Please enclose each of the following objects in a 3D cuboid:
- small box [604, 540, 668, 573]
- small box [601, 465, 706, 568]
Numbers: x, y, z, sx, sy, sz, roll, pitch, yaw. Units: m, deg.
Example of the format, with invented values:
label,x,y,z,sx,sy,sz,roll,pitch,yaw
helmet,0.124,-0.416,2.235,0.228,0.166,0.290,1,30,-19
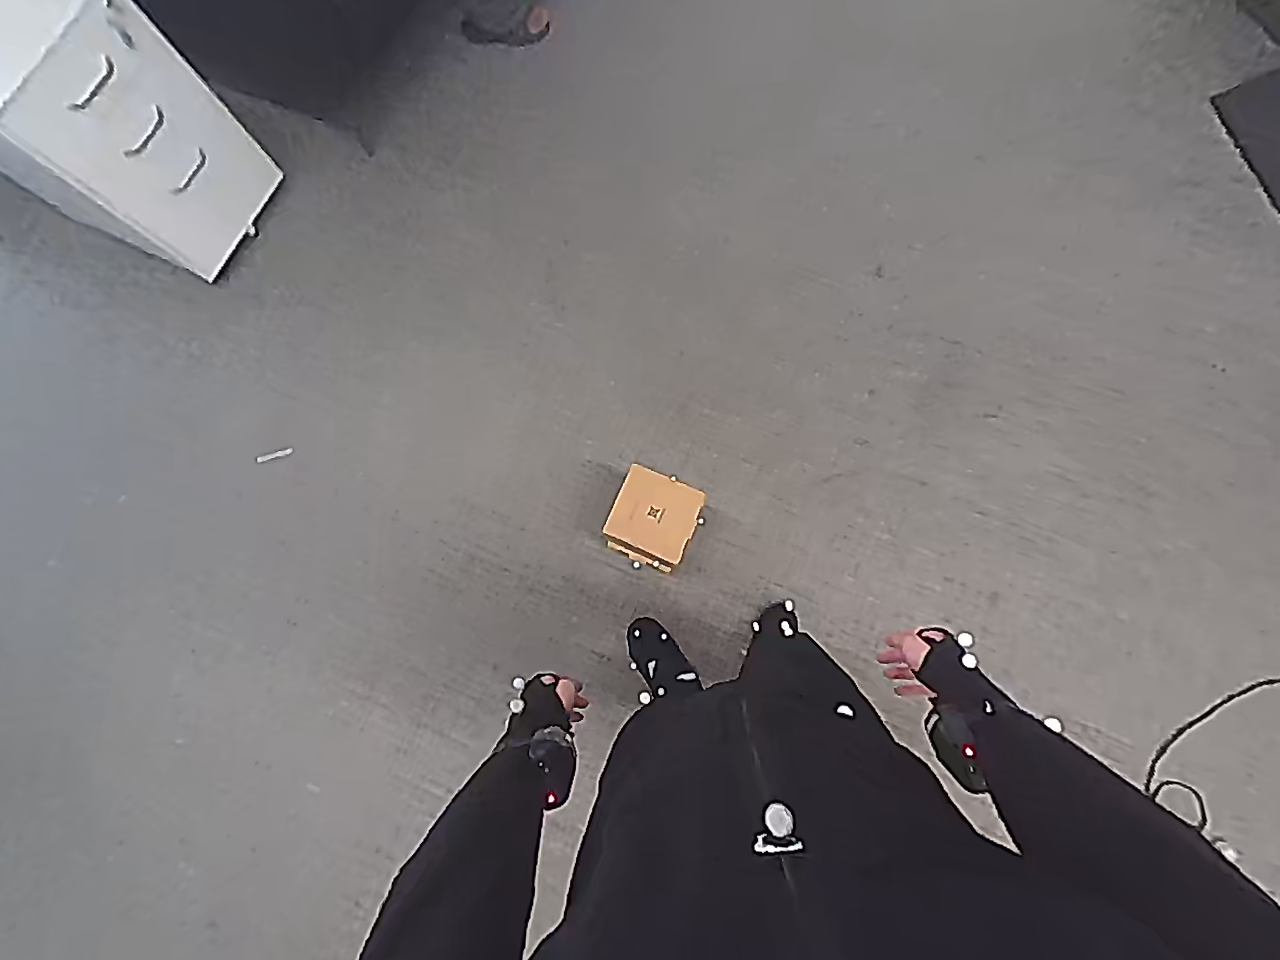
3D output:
label,x,y,z,sx,sy,sz,roll,pitch,yaw
small box,0.023,0.129,1.384,0.168,0.176,0.179,22,79,6
small box,0.031,0.089,1.207,0.179,0.176,0.168,23,78,6
